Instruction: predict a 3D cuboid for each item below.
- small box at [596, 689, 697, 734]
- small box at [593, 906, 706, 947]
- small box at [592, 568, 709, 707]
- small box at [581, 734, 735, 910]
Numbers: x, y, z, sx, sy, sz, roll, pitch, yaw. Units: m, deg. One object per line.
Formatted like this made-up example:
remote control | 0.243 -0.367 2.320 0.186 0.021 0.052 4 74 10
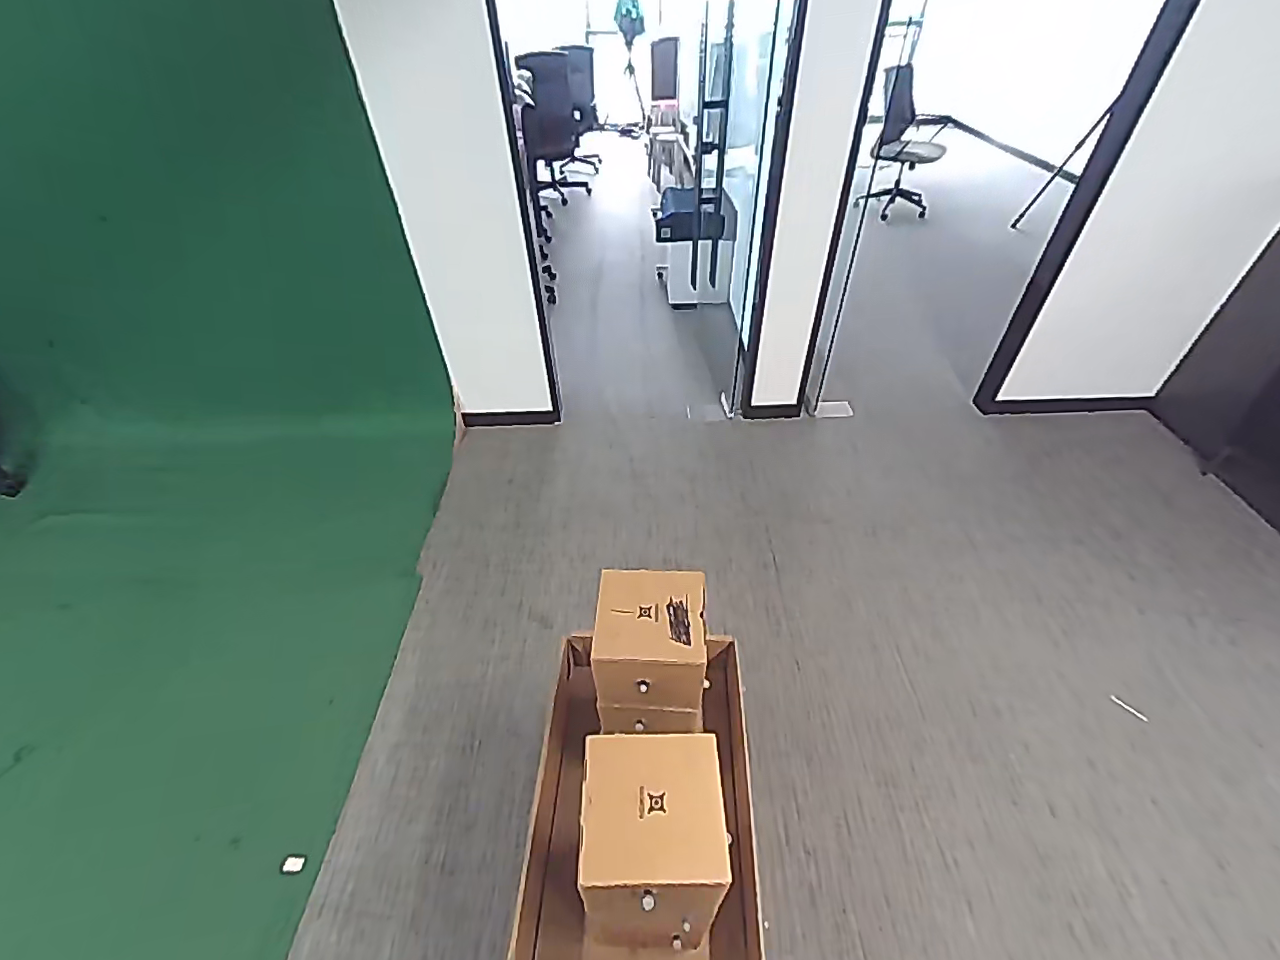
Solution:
small box | 0.019 0.386 1.029 0.179 0.176 0.168 2 45 4
small box | 0.015 0.691 0.940 0.179 0.176 0.168 1 42 1
small box | 0.020 0.268 0.914 0.179 0.176 0.168 2 45 3
small box | 0.019 0.453 0.717 0.179 0.176 0.168 -1 44 0
